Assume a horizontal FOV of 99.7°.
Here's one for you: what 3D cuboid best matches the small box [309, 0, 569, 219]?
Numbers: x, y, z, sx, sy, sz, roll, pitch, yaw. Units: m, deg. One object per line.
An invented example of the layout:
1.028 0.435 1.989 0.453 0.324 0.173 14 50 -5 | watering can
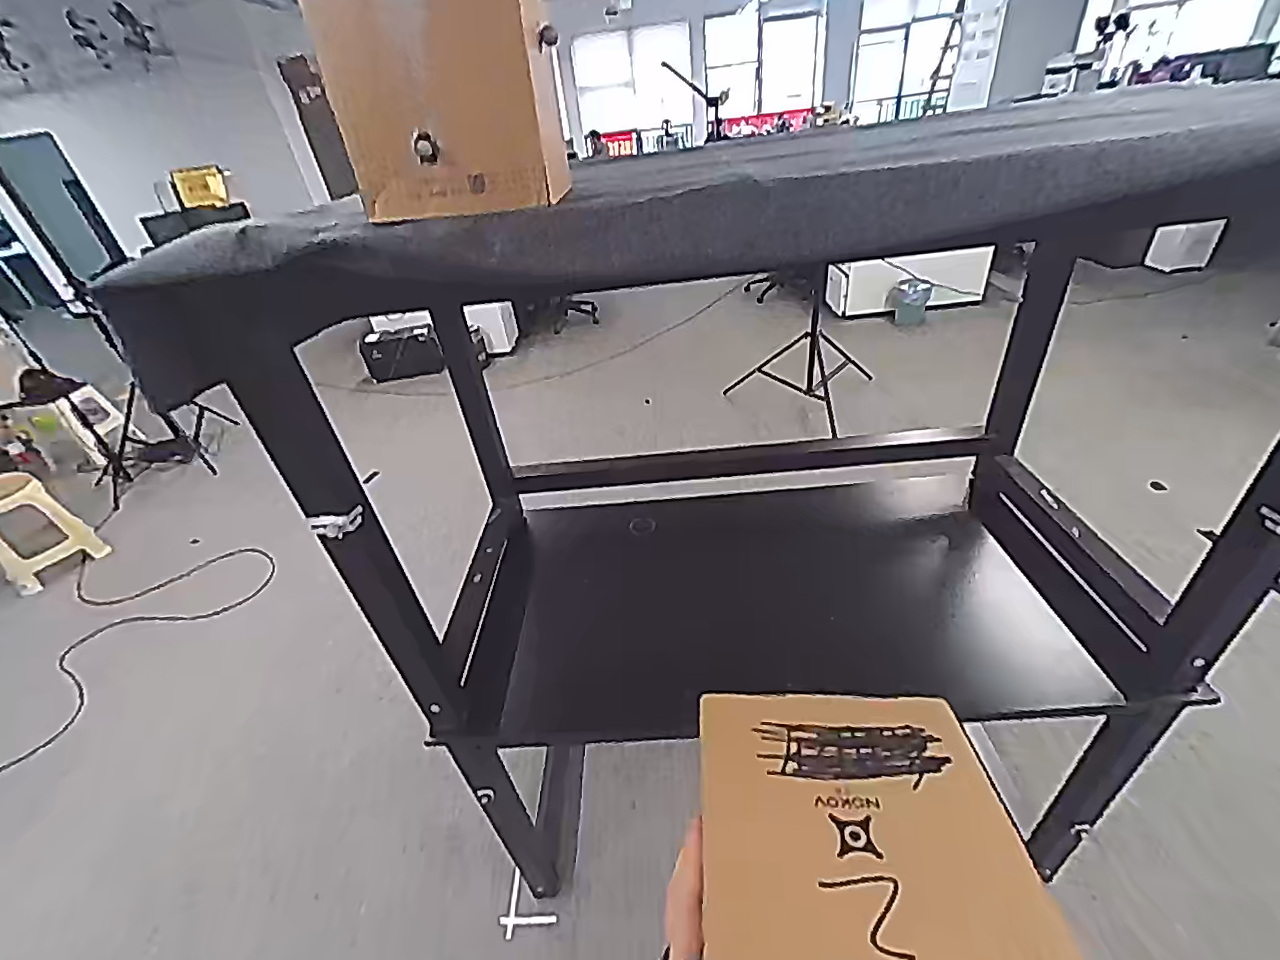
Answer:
-0.164 -0.347 0.504 0.168 0.176 0.179 -5 33 2 | small box
